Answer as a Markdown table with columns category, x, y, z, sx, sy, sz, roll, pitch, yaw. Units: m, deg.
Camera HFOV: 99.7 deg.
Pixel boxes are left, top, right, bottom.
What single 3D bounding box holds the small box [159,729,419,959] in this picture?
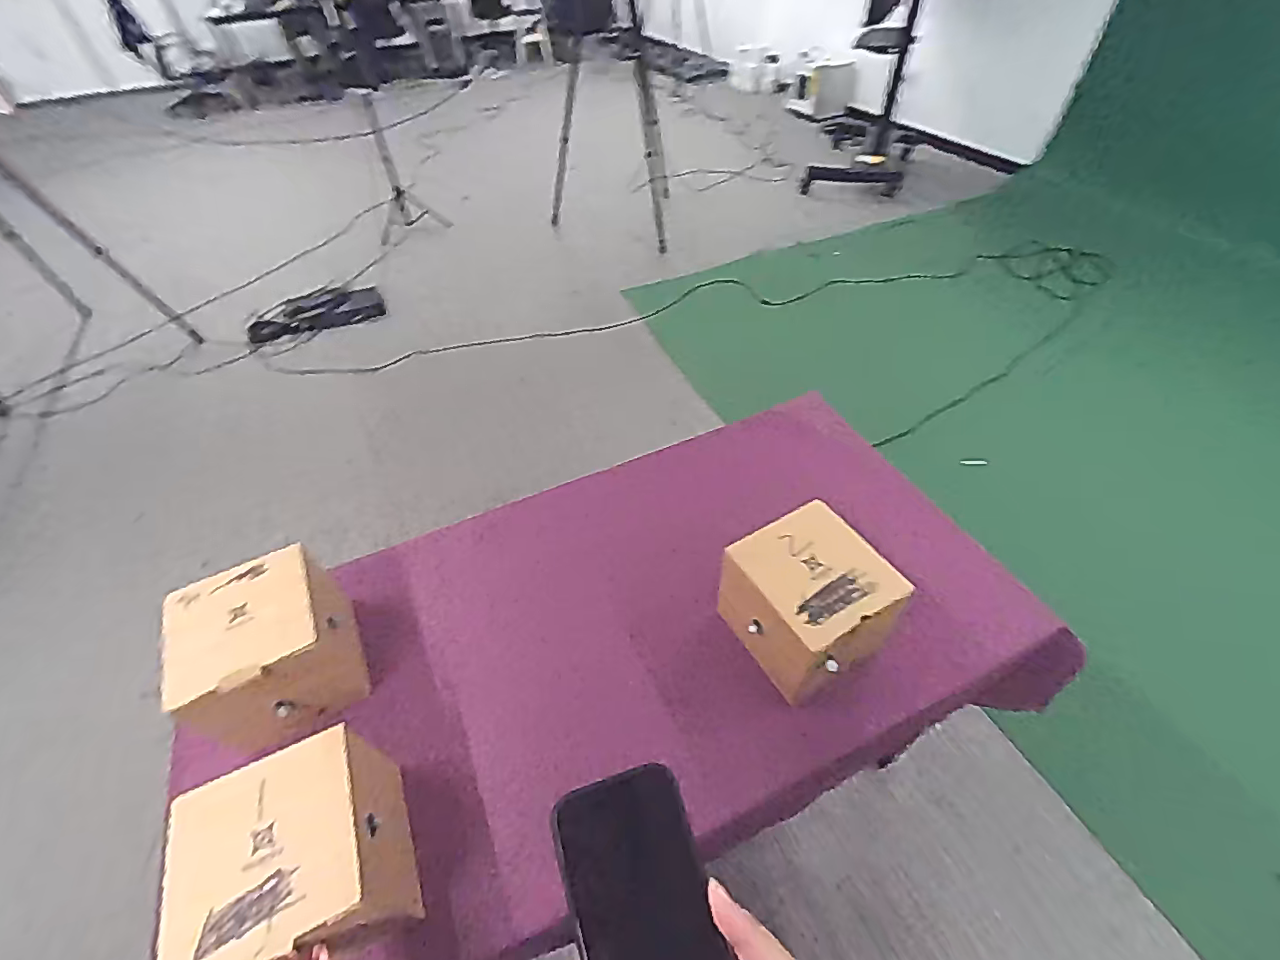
| category | x | y | z | sx | sy | sz | roll | pitch | yaw |
| --- | --- | --- | --- | --- | --- | --- | --- | --- | --- |
| small box | -0.352 | 0.406 | 0.570 | 0.168 | 0.176 | 0.179 | -21 | 49 | -16 |

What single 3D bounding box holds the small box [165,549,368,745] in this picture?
| category | x | y | z | sx | sy | sz | roll | pitch | yaw |
| --- | --- | --- | --- | --- | --- | --- | --- | --- | --- |
| small box | -0.496 | 0.233 | 0.735 | 0.168 | 0.176 | 0.179 | -24 | 52 | -18 |
